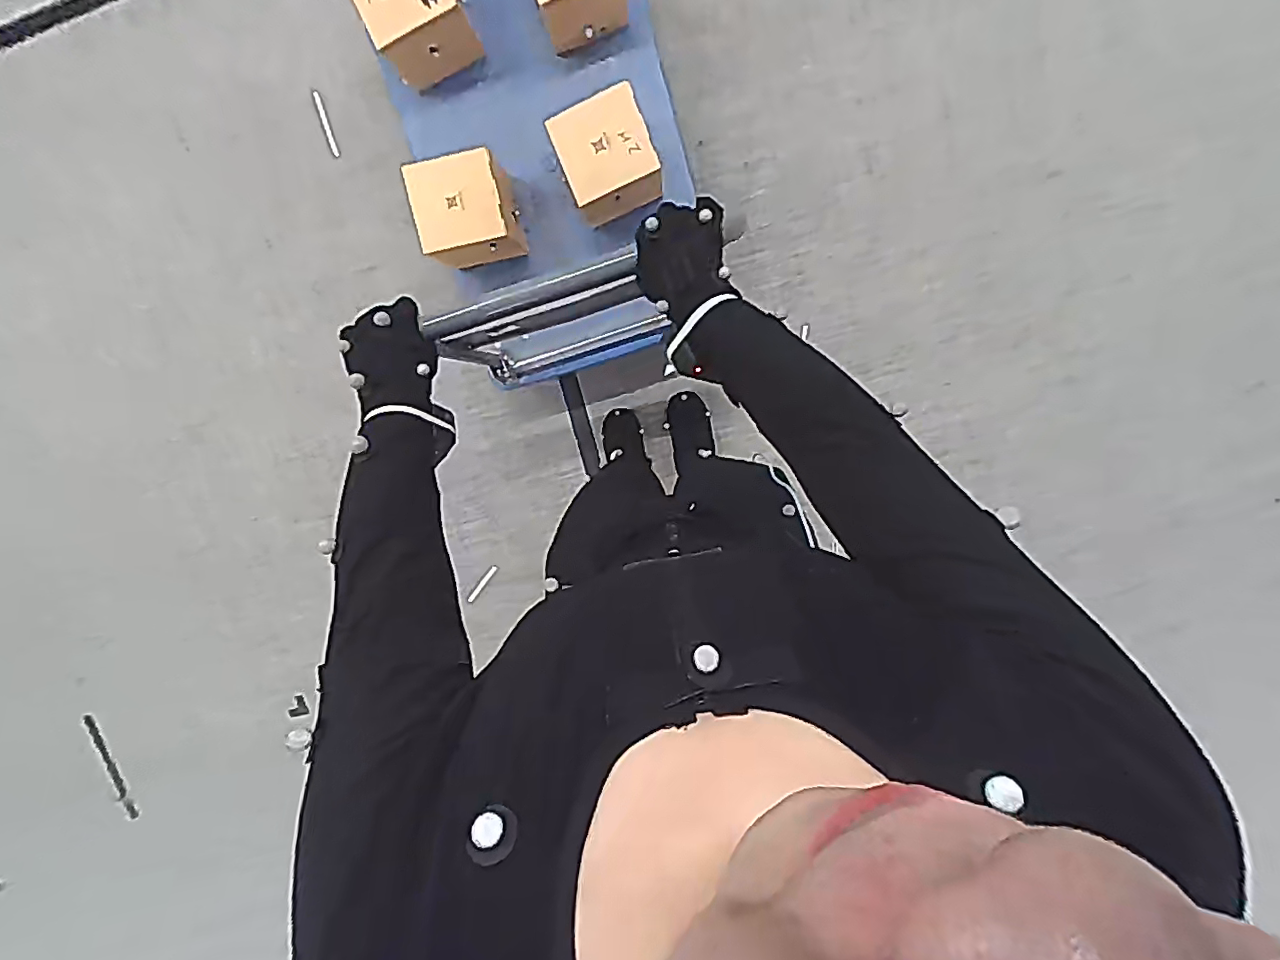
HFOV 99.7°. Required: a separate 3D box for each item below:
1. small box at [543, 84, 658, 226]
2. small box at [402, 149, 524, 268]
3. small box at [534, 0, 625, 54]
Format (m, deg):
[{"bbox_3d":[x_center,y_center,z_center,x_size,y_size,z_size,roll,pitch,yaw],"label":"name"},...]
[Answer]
[{"bbox_3d":[-0.071,-0.646,1.103,0.179,0.176,0.168,-21,100,8],"label":"small box"},{"bbox_3d":[-0.363,-0.559,1.138,0.179,0.176,0.168,-11,100,4],"label":"small box"},{"bbox_3d":[-0.134,-0.980,1.037,0.168,0.176,0.179,-18,101,7],"label":"small box"}]
